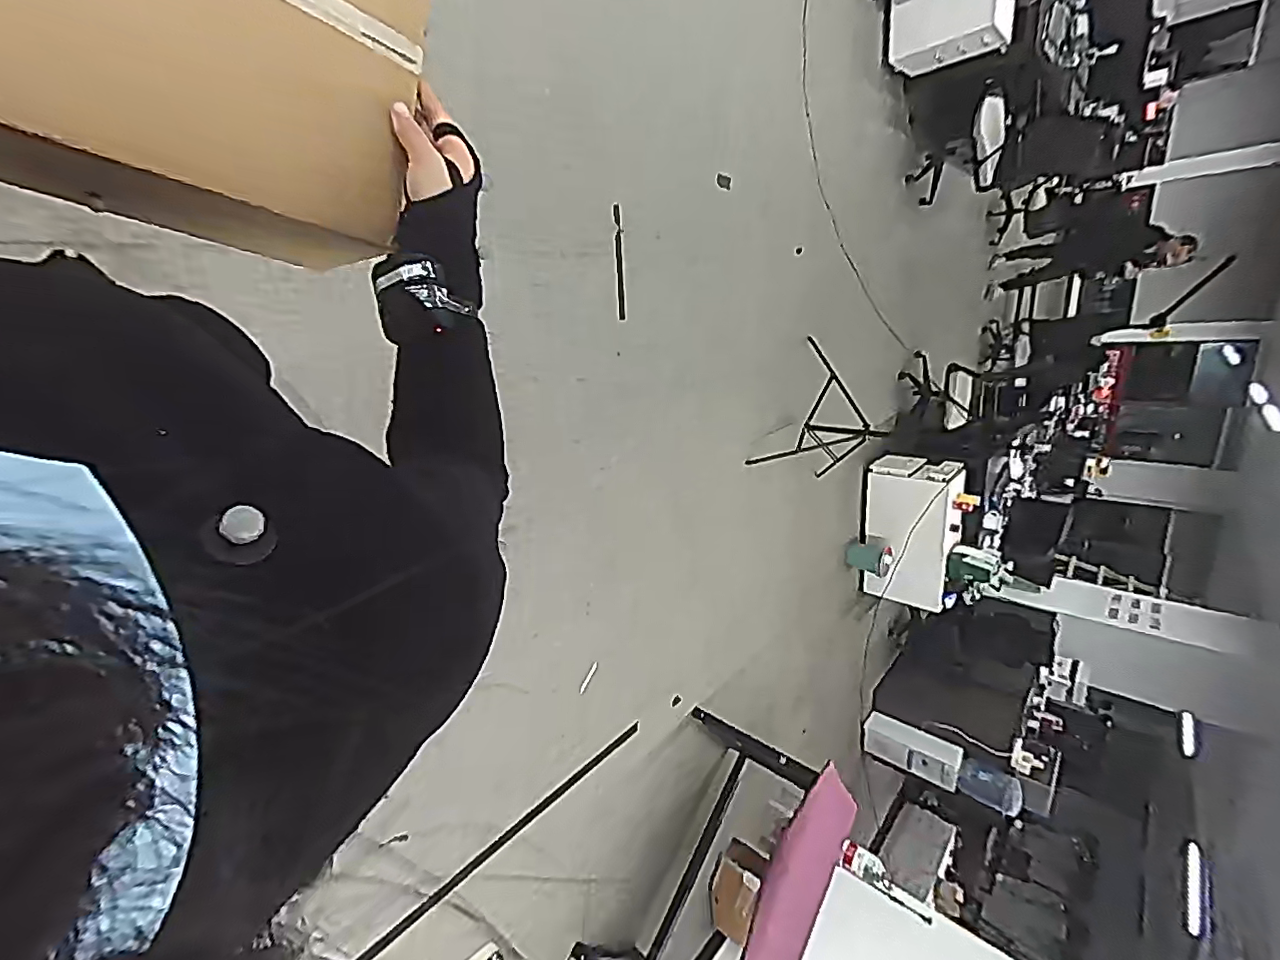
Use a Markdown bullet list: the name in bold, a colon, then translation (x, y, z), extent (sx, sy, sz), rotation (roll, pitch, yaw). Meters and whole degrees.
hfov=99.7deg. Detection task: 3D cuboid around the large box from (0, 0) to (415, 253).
- **large box**: translation (-0.444, -0.411, 0.450), extent (0.408, 0.320, 0.320), rotation (3, 100, -43)
